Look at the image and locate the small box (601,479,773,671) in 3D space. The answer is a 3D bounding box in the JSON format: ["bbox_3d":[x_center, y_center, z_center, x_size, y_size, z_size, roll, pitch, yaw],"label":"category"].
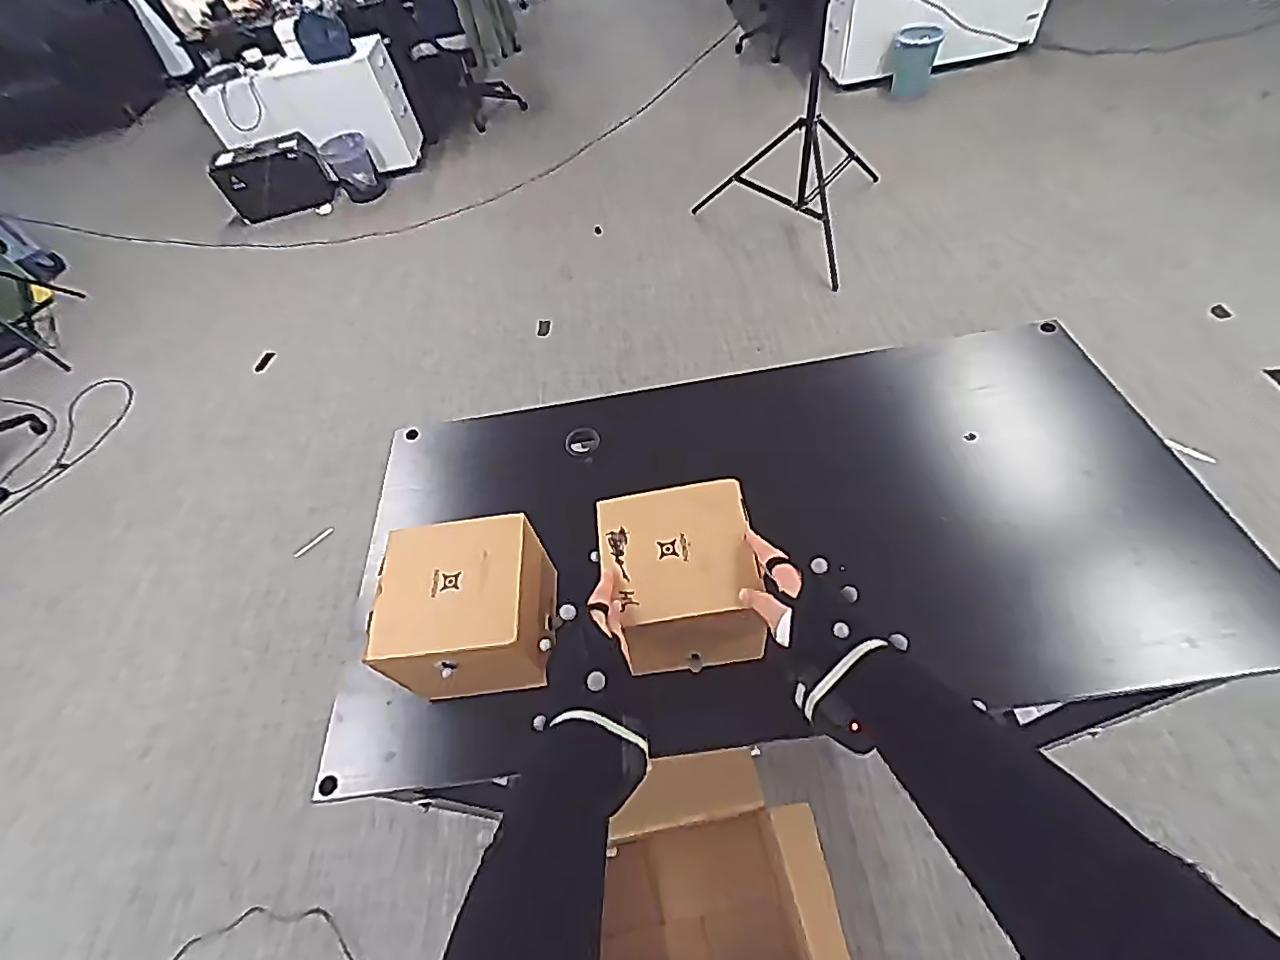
[{"bbox_3d":[0.053,0.122,0.668,0.179,0.176,0.168,-9,53,2],"label":"small box"}]

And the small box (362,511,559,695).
[{"bbox_3d":[-0.209,0.161,0.682,0.179,0.176,0.168,-8,55,2],"label":"small box"}]
